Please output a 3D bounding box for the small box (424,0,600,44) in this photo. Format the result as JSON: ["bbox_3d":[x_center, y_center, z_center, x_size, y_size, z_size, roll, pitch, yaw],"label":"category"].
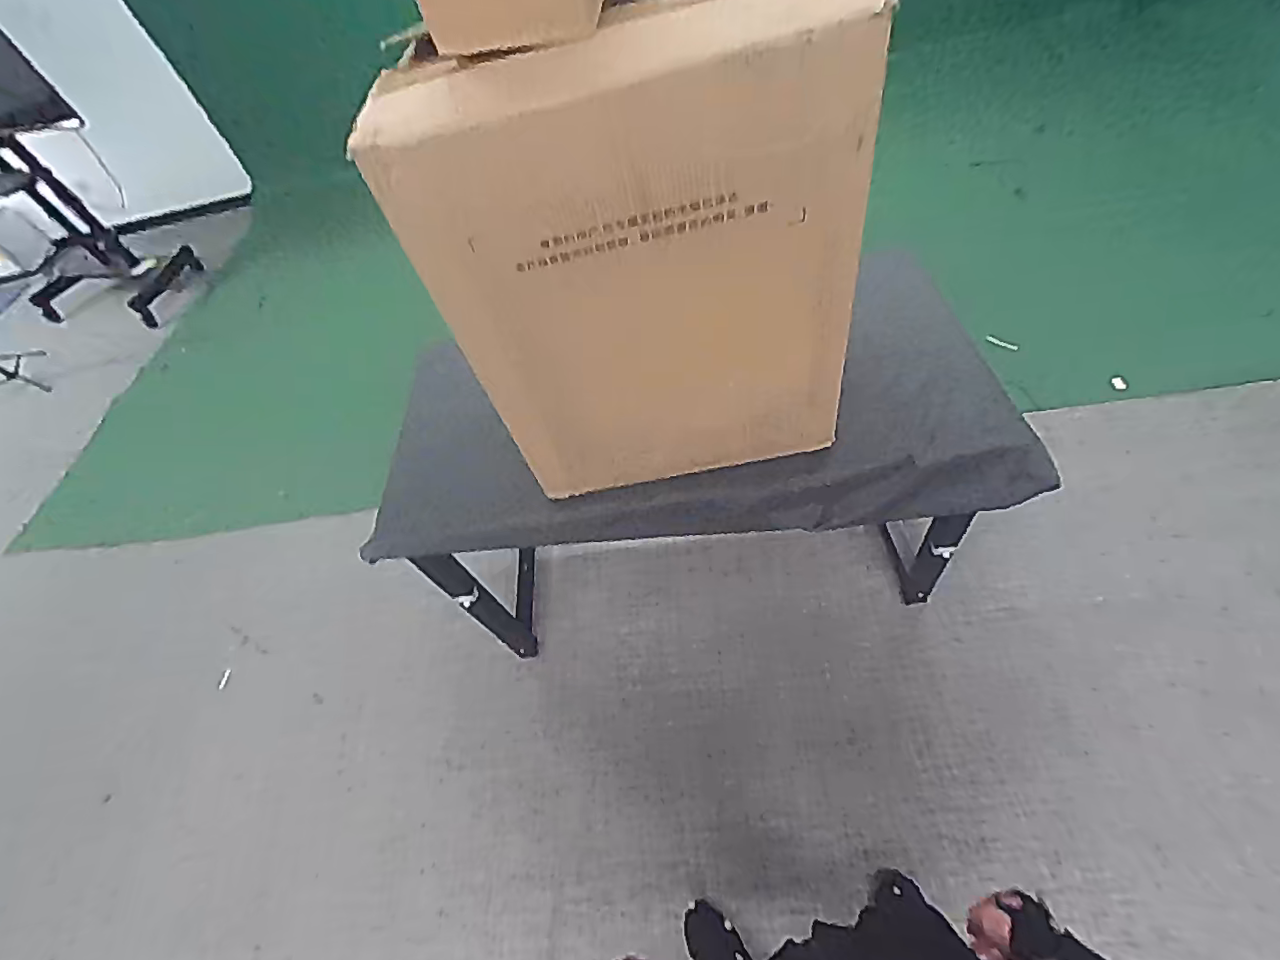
[{"bbox_3d":[-0.138,-0.569,0.532,0.179,0.176,0.168,2,67,12],"label":"small box"}]
